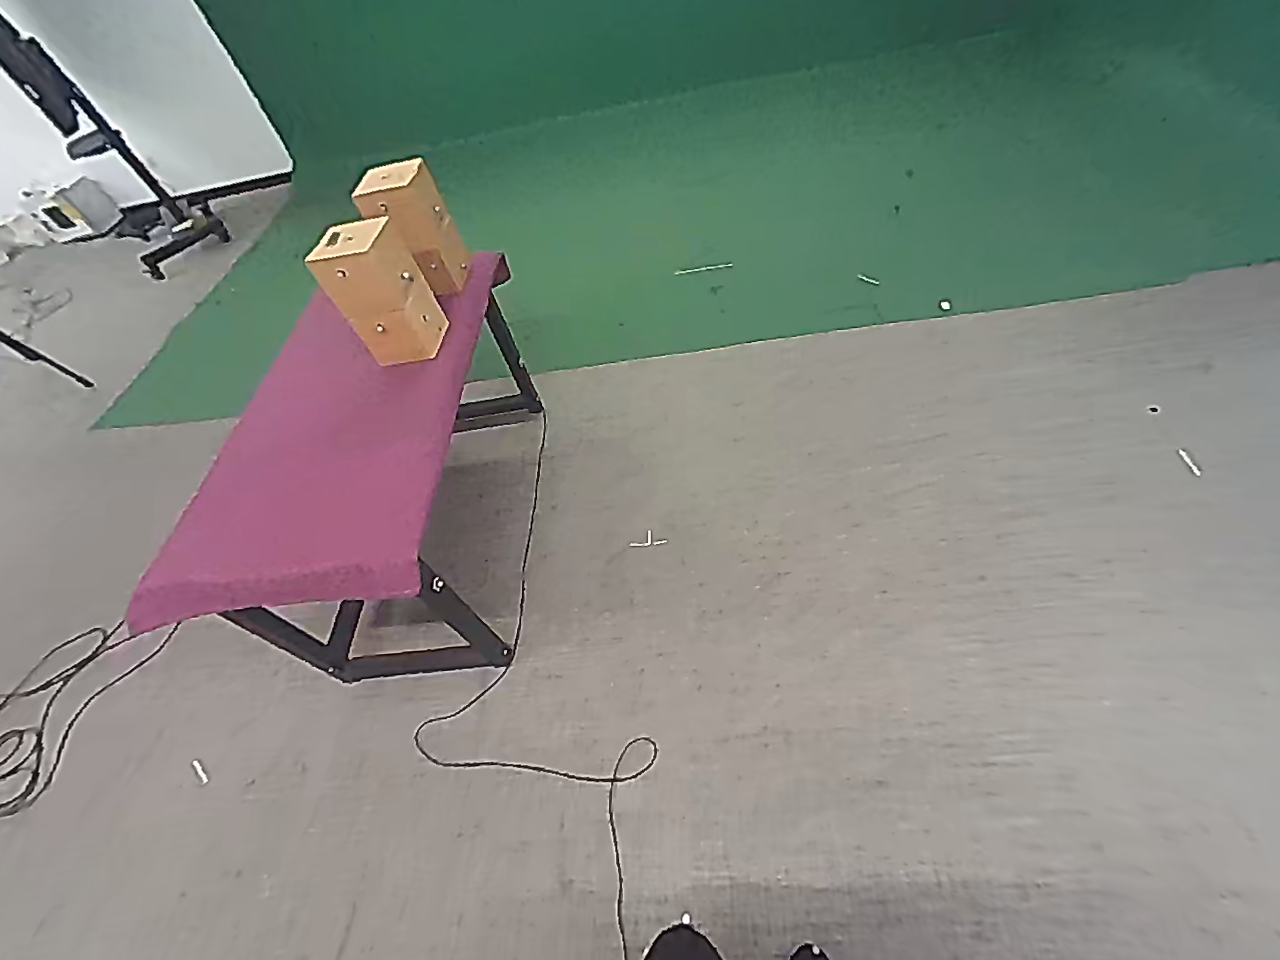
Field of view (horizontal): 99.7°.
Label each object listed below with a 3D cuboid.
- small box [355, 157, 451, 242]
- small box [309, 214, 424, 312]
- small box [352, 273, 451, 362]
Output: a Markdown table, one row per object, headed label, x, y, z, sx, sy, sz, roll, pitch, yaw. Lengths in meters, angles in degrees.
| label | x | y | z | sx | sy | sz | roll | pitch | yaw |
| --- | --- | --- | --- | --- | --- | --- | --- | --- | --- |
| small box | -0.691 | -0.817 | 1.598 | 0.179 | 0.176 | 0.168 | -6 | 53 | 9 |
| small box | -0.699 | -0.556 | 1.404 | 0.179 | 0.176 | 0.168 | -4 | 53 | 11 |
| small box | -0.664 | -0.458 | 1.531 | 0.179 | 0.176 | 0.168 | -5 | 52 | 11 |
